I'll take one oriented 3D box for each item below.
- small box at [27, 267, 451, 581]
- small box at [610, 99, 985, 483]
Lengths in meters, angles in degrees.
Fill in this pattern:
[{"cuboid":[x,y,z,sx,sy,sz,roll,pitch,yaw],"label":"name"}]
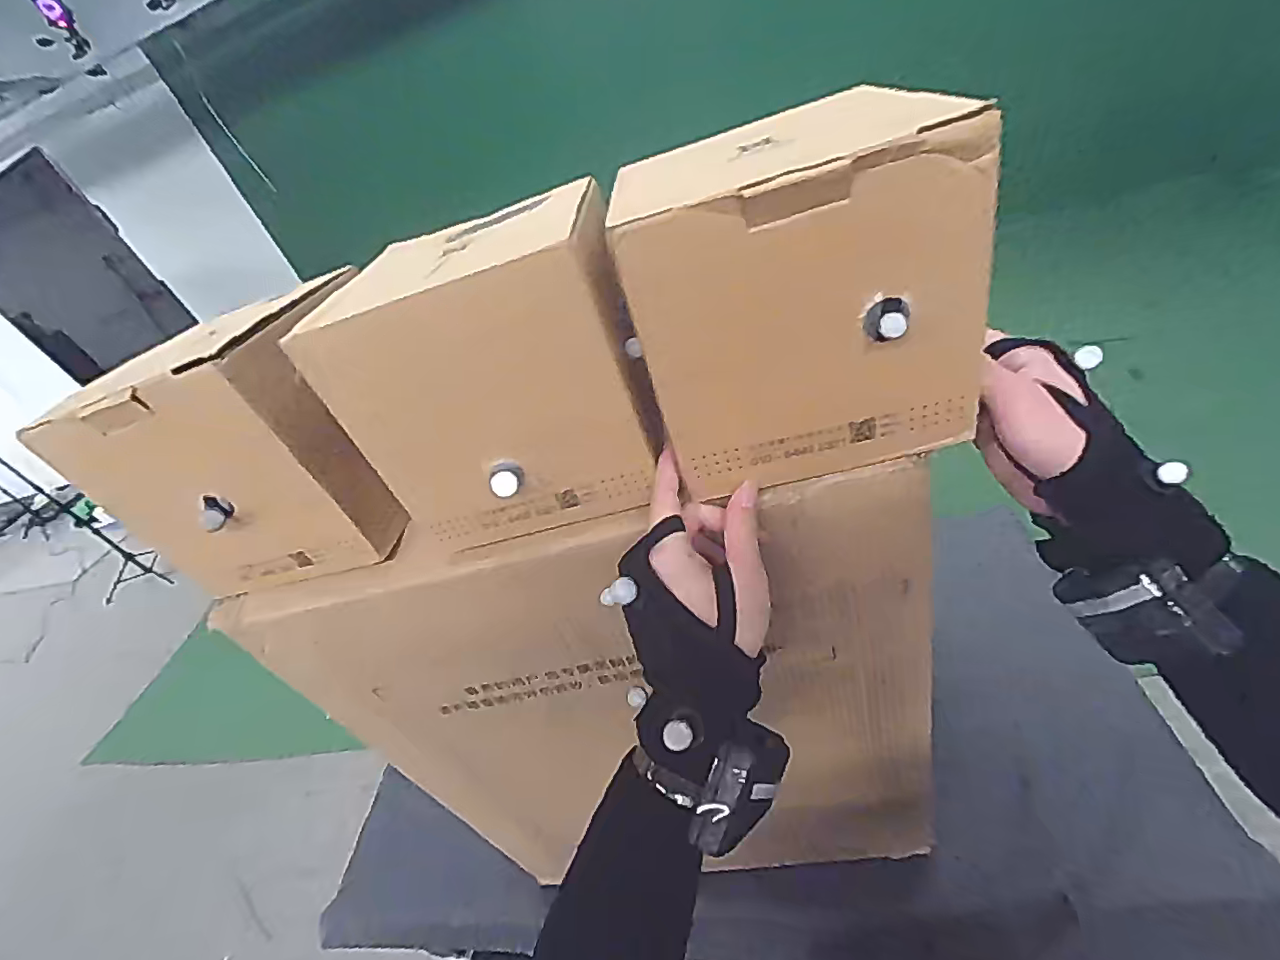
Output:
[{"cuboid":[-0.280,-0.037,0.431,0.168,0.176,0.179,-13,37,13],"label":"small box"},{"cuboid":[0.085,-0.114,0.344,0.168,0.176,0.179,-13,36,8],"label":"small box"}]
